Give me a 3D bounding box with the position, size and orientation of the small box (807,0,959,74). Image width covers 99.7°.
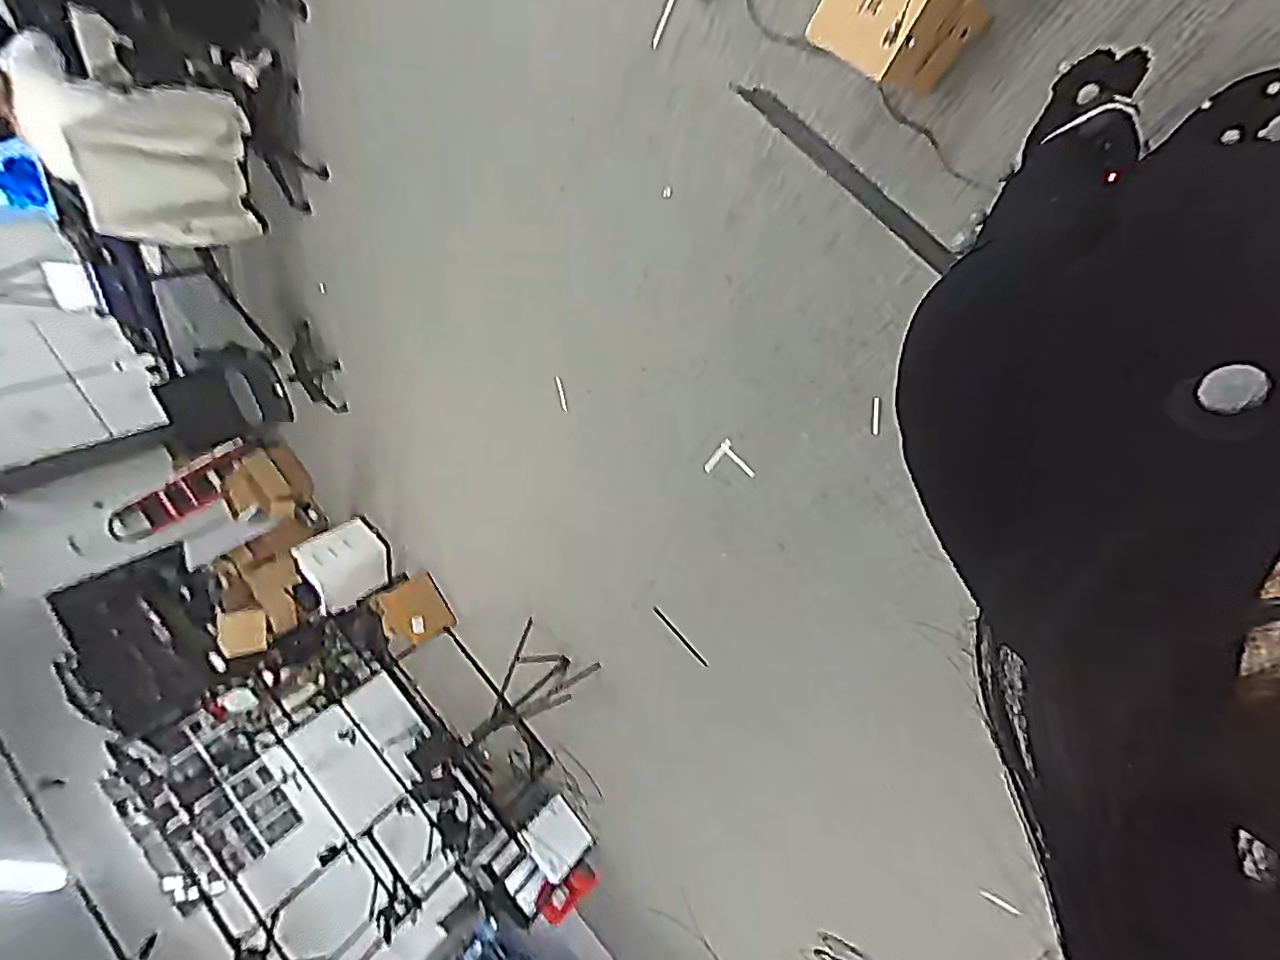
[{"bbox_3d":[0.437,-0.848,0.951,0.179,0.176,0.168,44,136,13],"label":"small box"}]

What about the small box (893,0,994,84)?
[{"bbox_3d":[0.549,-0.911,1.053,0.179,0.176,0.168,52,137,7],"label":"small box"}]
